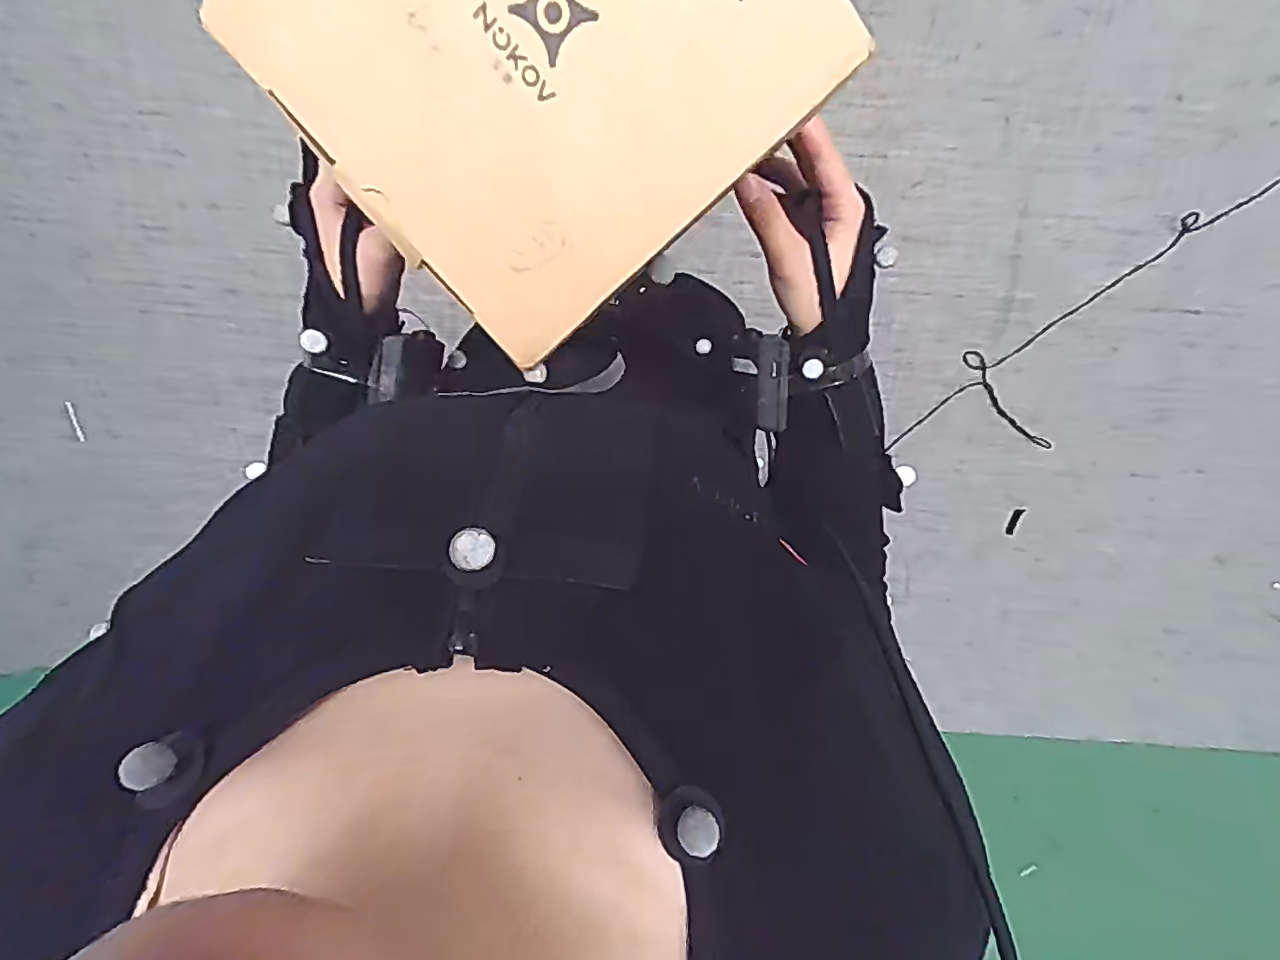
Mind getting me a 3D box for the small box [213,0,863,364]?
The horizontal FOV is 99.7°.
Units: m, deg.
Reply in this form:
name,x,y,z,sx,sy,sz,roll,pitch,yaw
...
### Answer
name,x,y,z,sx,sy,sz,roll,pitch,yaw
small box,-0.033,-0.184,0.264,0.179,0.176,0.168,-38,105,15
